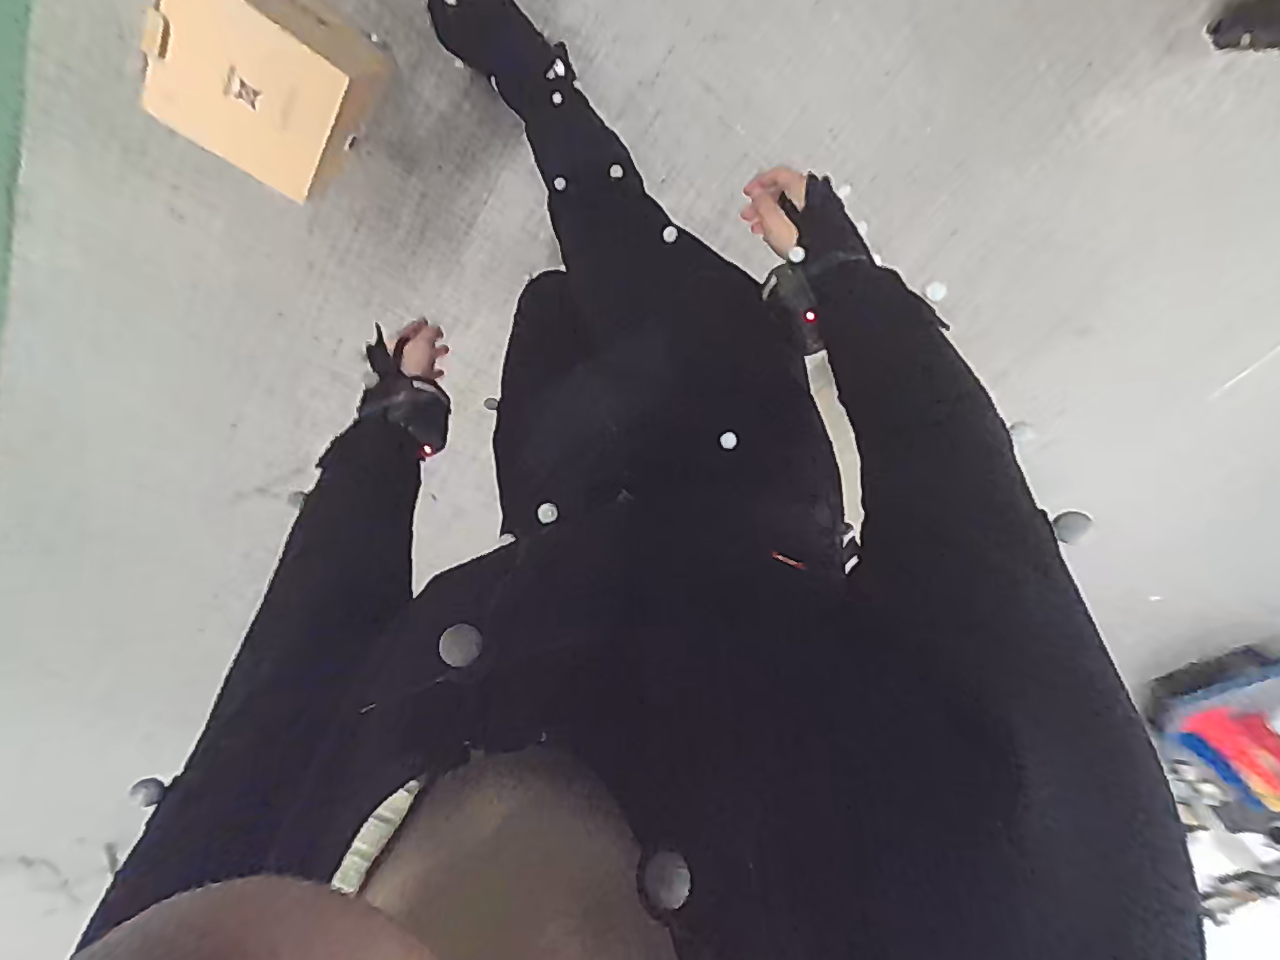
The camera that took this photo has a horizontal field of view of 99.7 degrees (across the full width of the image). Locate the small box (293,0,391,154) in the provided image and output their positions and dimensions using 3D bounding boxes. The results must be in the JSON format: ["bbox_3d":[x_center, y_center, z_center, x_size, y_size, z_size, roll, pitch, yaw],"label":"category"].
[{"bbox_3d":[-0.486,-0.589,0.790,0.168,0.176,0.179,29,119,-28],"label":"small box"}]

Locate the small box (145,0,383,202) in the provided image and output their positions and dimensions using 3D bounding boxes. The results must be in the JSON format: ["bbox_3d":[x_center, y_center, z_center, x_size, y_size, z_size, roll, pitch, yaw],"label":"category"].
[{"bbox_3d":[-0.449,-0.486,0.669,0.179,0.176,0.168,26,121,-28],"label":"small box"}]
